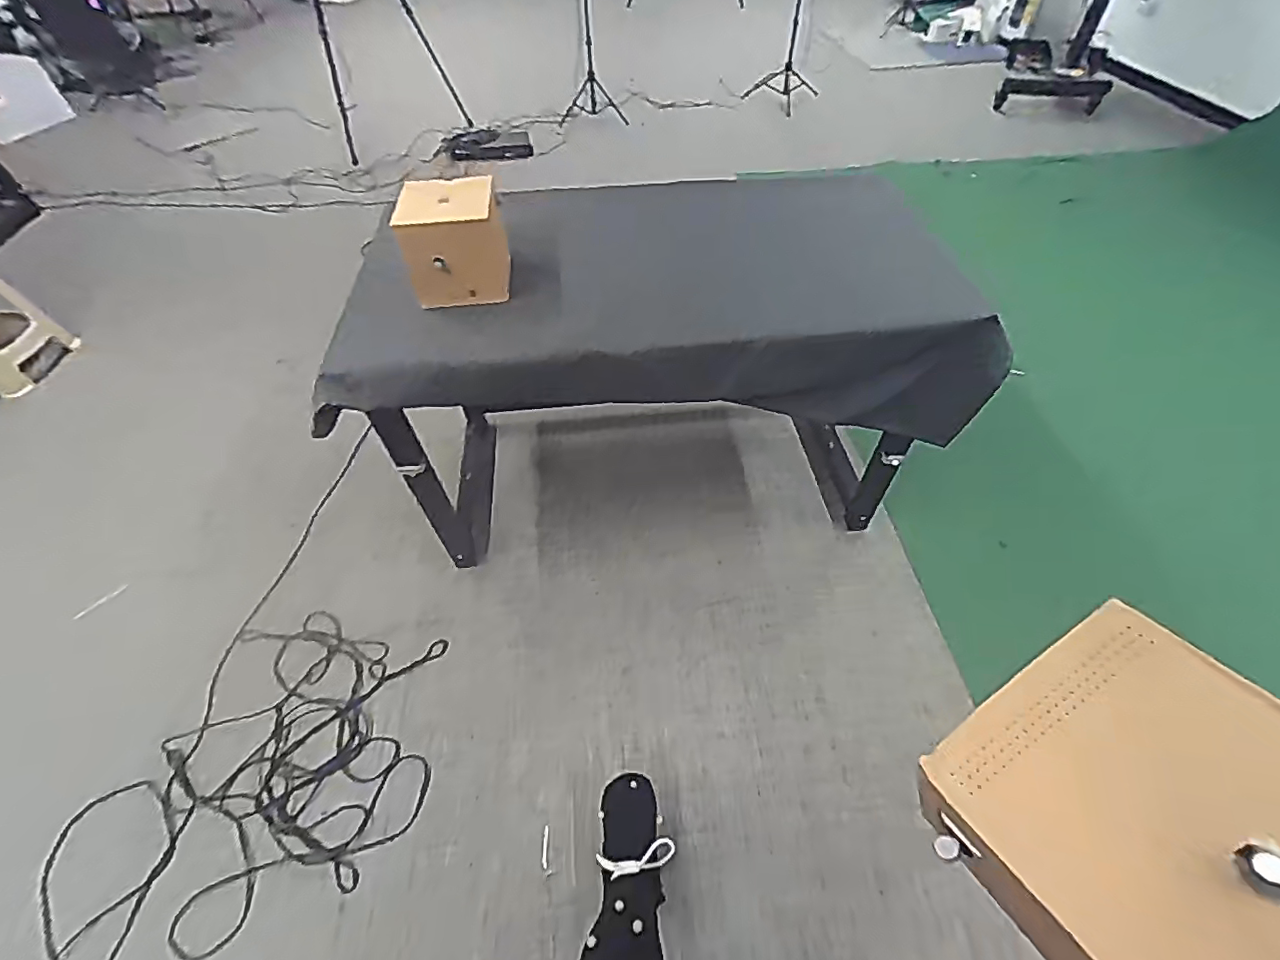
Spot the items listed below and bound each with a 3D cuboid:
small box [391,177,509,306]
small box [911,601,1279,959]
[{"bbox_3d":[-0.348,-0.447,1.028,0.168,0.176,0.179,-6,50,-4],"label":"small box"},{"bbox_3d":[0.305,0.210,0.340,0.179,0.168,0.176,-36,42,-4],"label":"small box"}]
